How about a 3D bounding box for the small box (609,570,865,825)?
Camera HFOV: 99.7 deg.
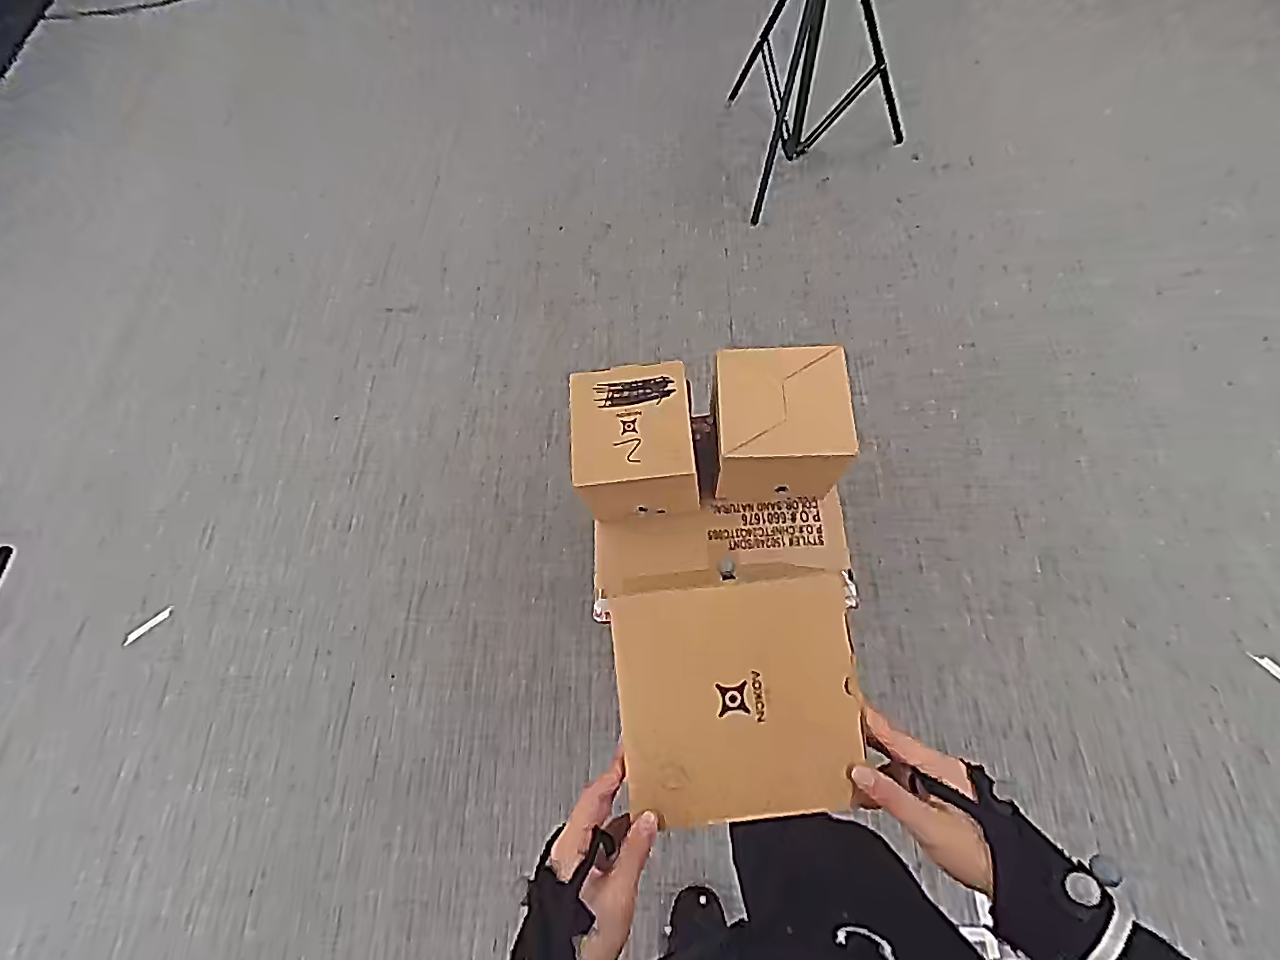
[{"bbox_3d":[0.070,0.172,0.481,0.179,0.176,0.168,-6,83,-2],"label":"small box"}]
